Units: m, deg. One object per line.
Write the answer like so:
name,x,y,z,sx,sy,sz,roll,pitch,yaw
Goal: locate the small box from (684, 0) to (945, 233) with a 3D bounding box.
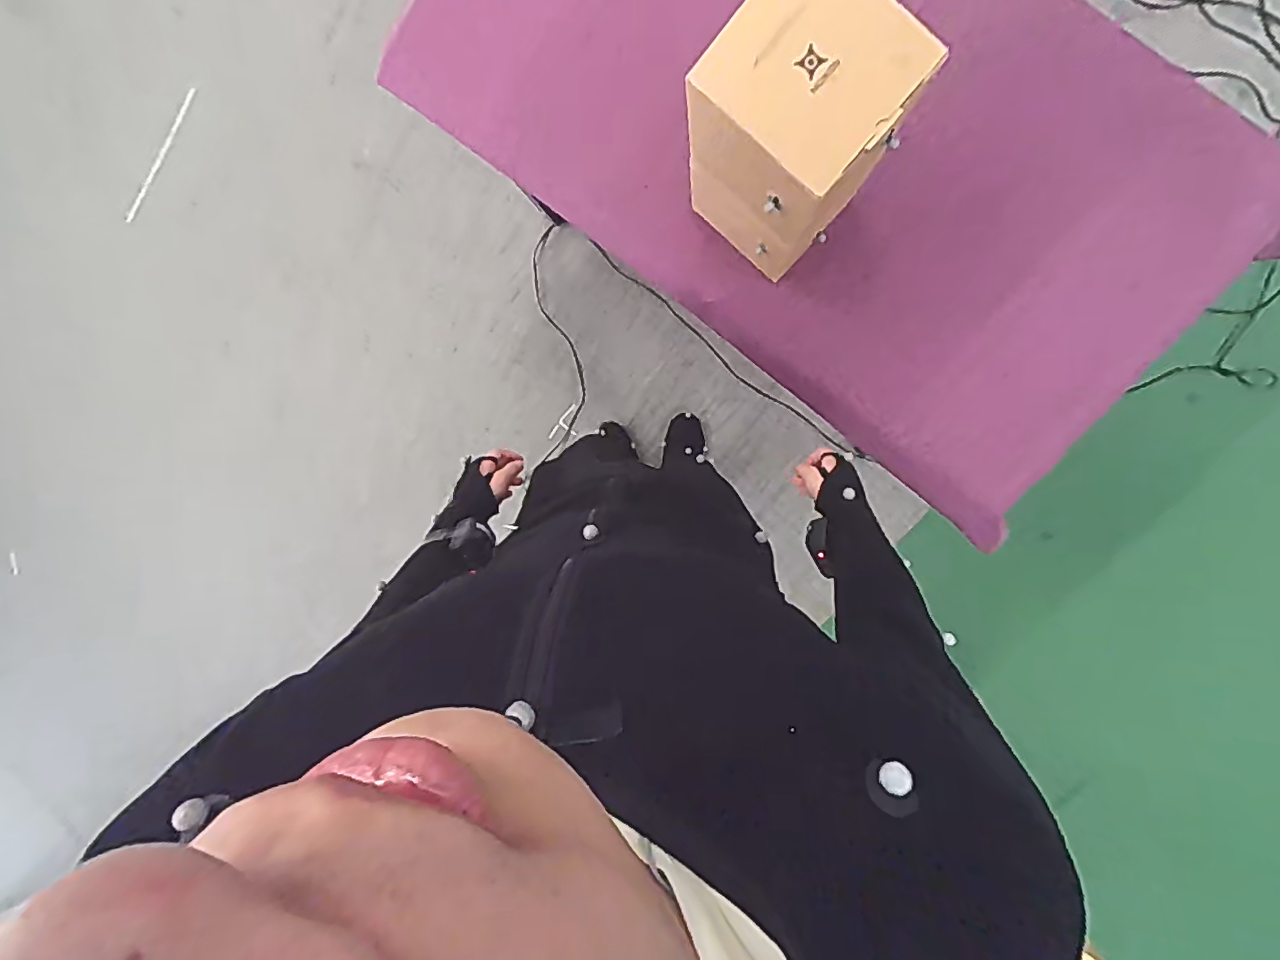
small box,0.167,-0.393,0.573,0.179,0.176,0.168,43,100,0
